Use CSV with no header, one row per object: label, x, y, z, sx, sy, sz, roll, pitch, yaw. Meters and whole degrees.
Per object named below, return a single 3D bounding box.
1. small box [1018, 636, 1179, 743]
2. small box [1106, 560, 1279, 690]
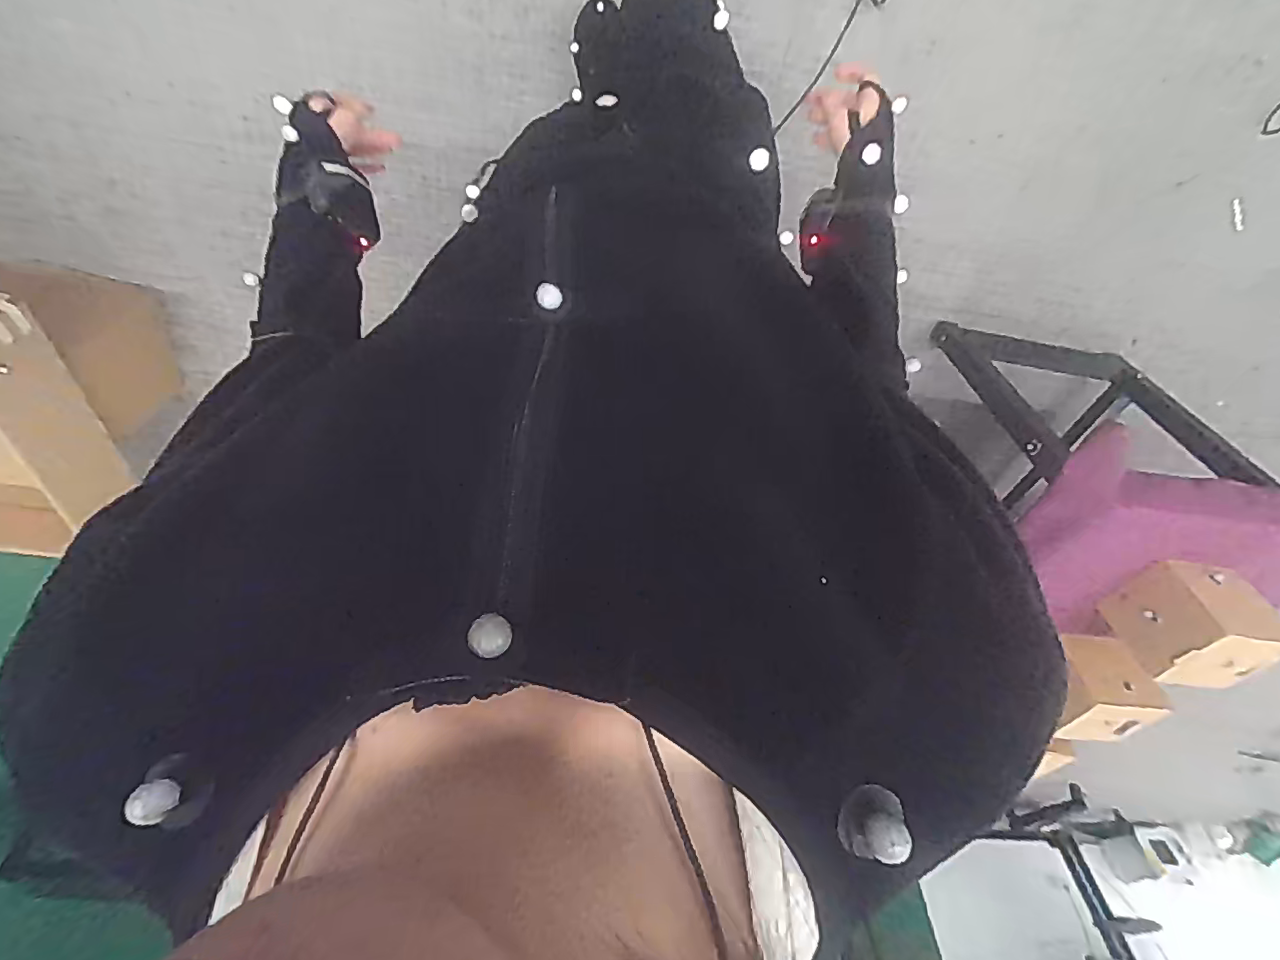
small box,1.005,0.464,1.203,0.179,0.176,0.168,6,132,-4
small box,1.057,0.271,1.024,0.179,0.176,0.168,10,133,-8
